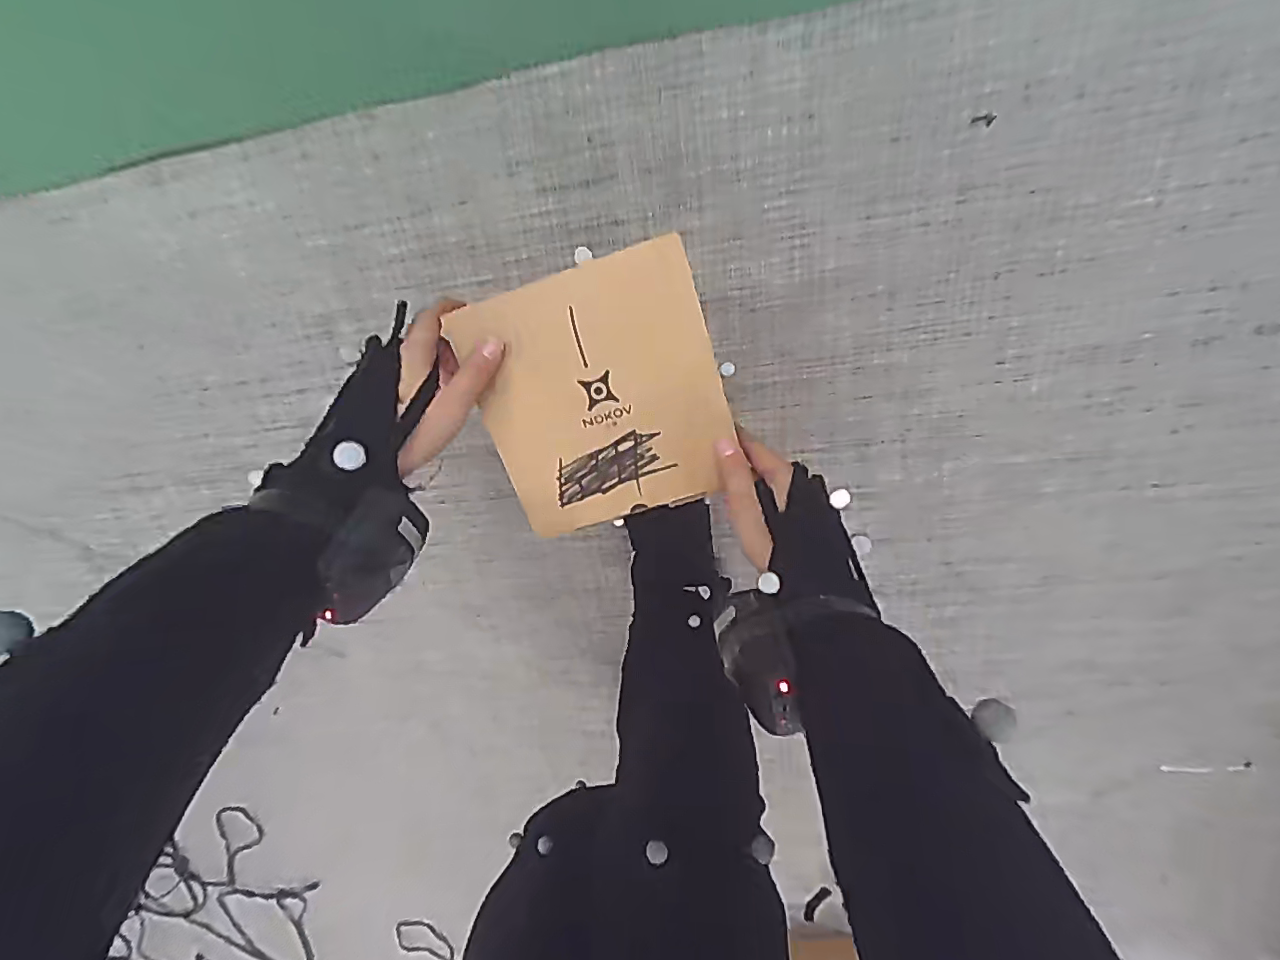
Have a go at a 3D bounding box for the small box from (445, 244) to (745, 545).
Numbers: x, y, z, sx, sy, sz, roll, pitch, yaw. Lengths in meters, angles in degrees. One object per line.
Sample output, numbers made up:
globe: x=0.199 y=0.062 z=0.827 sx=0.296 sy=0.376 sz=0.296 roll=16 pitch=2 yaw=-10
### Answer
small box: x=-0.021 y=-0.077 z=0.444 sx=0.168 sy=0.176 sz=0.179 roll=-17 pitch=109 yaw=10

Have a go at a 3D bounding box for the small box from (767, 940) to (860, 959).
small box: x=0.349 y=1.016 z=1.029 sx=0.179 sy=0.176 sz=0.168 roll=-10 pitch=112 yaw=11
